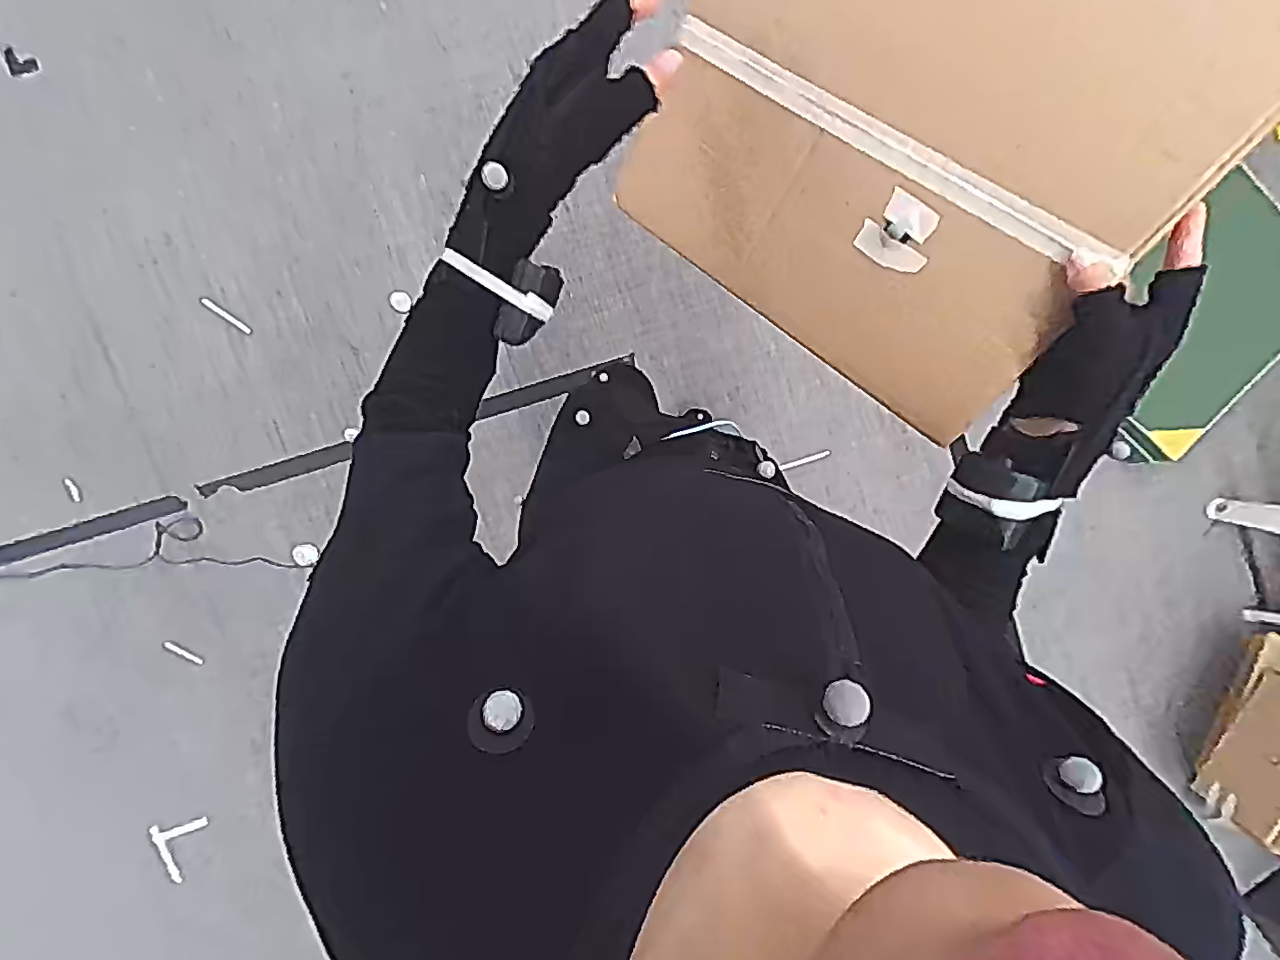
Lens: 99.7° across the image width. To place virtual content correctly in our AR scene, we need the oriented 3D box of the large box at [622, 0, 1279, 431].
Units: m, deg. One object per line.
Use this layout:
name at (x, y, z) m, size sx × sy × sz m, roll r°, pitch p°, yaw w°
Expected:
large box at (0.266, -0.313, 0.546) m, size 0.408 × 0.320 × 0.320 m, roll 43°, pitch 126°, yaw 16°
